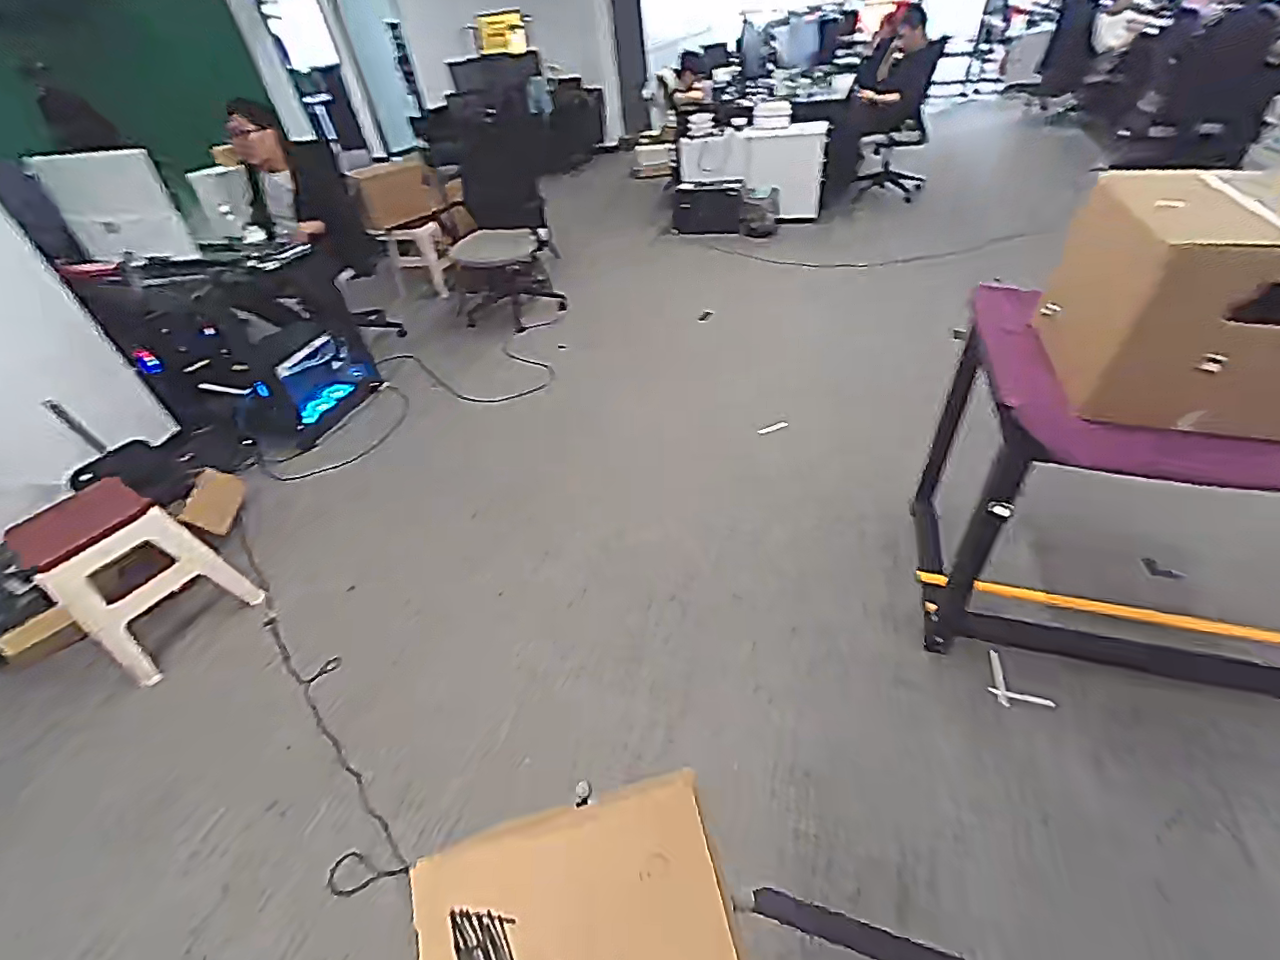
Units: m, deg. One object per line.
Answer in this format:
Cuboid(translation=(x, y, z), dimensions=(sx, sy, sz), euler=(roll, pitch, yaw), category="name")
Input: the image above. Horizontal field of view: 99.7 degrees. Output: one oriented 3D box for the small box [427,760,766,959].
Cuboid(translation=(-0.014, 0.296, 0.354), dimensions=(0.179, 0.176, 0.168), euler=(-15, 65, -2), category="small box")
